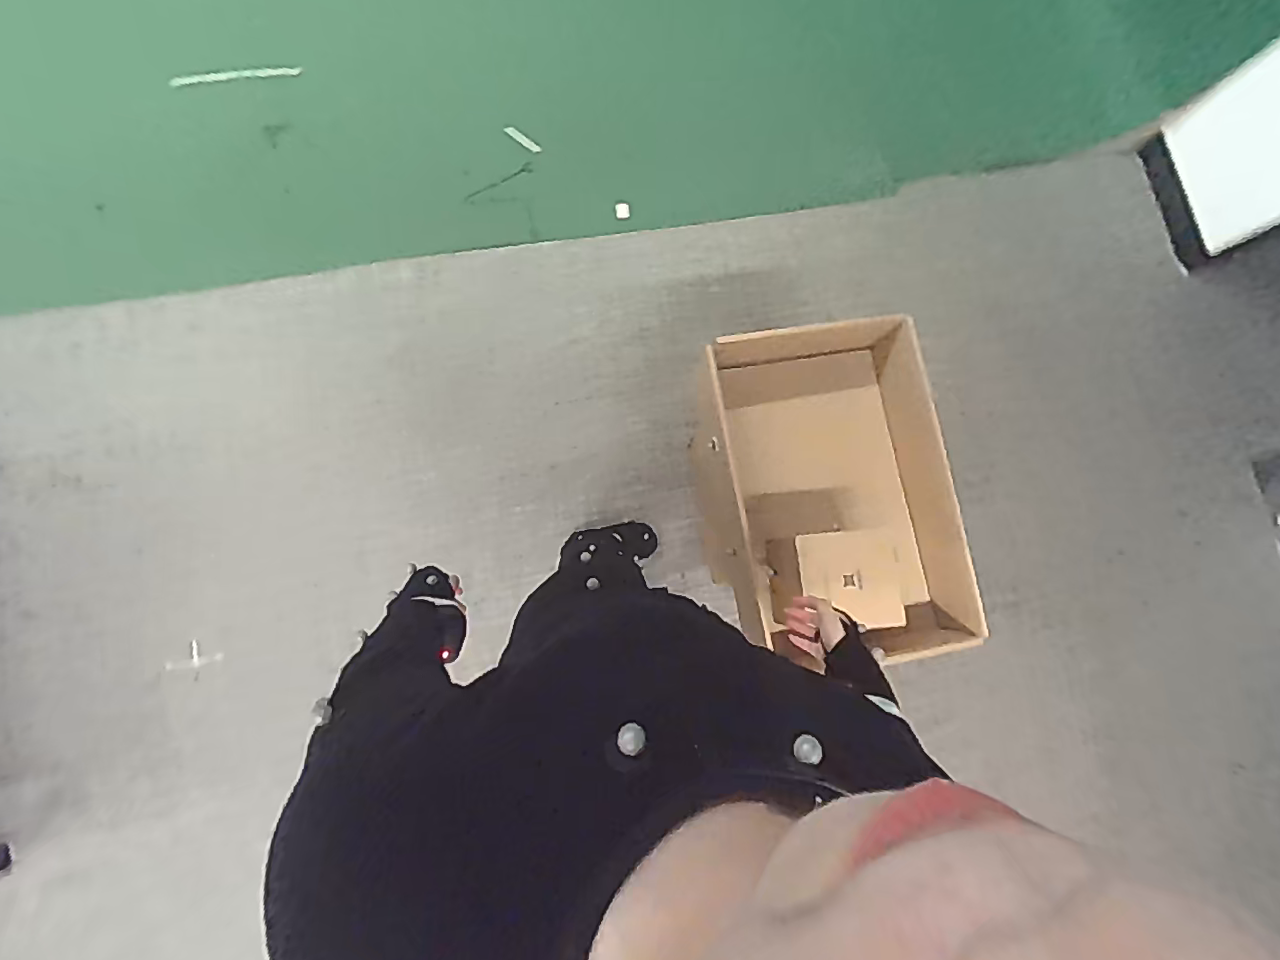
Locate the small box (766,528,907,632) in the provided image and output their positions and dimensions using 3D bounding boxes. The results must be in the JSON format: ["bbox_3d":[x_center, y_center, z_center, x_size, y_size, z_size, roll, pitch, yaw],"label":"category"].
[{"bbox_3d":[0.344,0.175,0.975,0.179,0.176,0.168,-3,81,-6],"label":"small box"}]
